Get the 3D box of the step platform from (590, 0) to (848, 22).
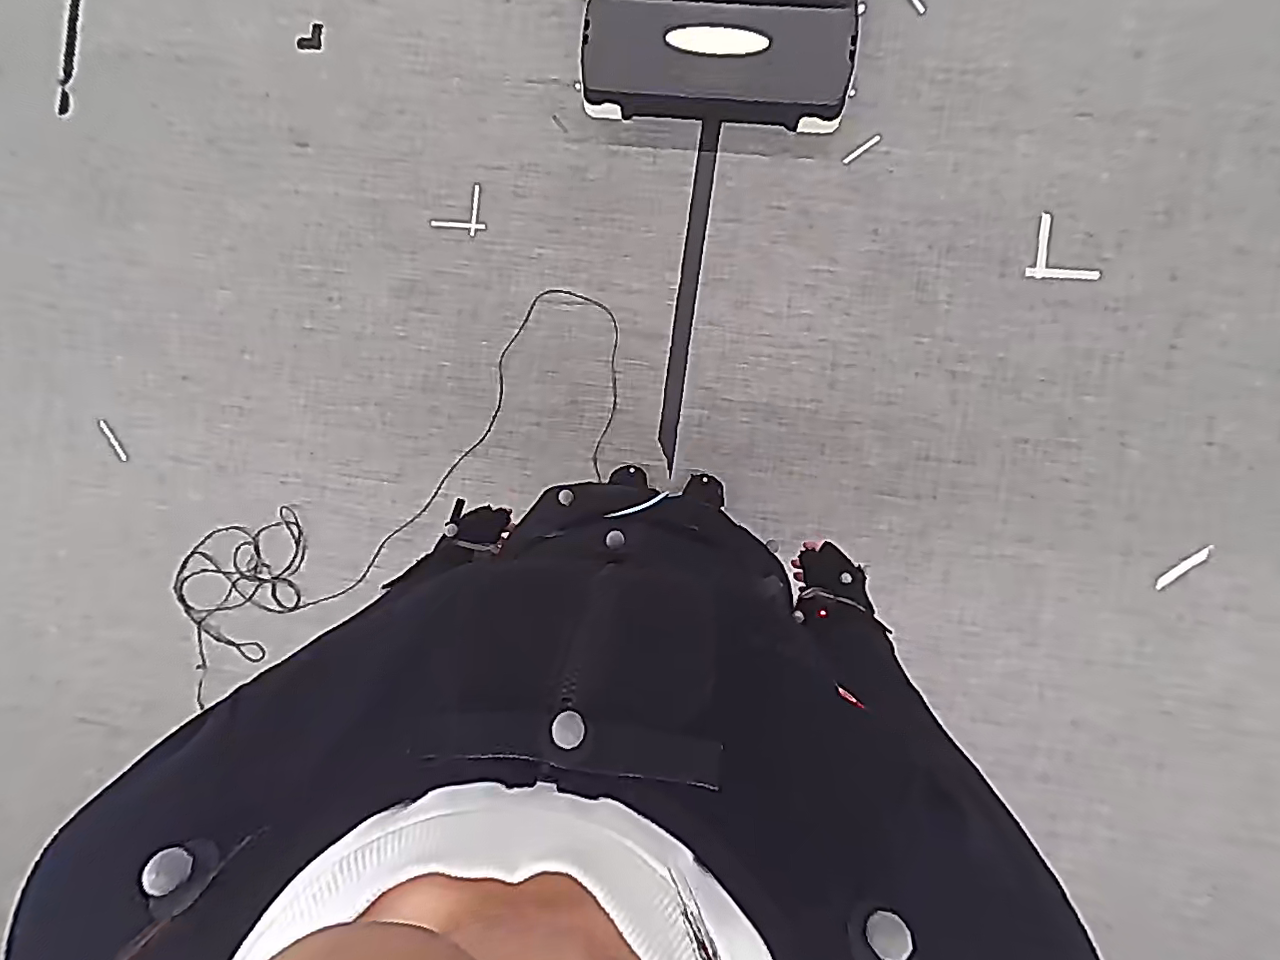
[{"bbox_3d":[0.197,-1.323,1.288,0.684,0.204,0.286,6,93,4],"label":"step platform"}]
